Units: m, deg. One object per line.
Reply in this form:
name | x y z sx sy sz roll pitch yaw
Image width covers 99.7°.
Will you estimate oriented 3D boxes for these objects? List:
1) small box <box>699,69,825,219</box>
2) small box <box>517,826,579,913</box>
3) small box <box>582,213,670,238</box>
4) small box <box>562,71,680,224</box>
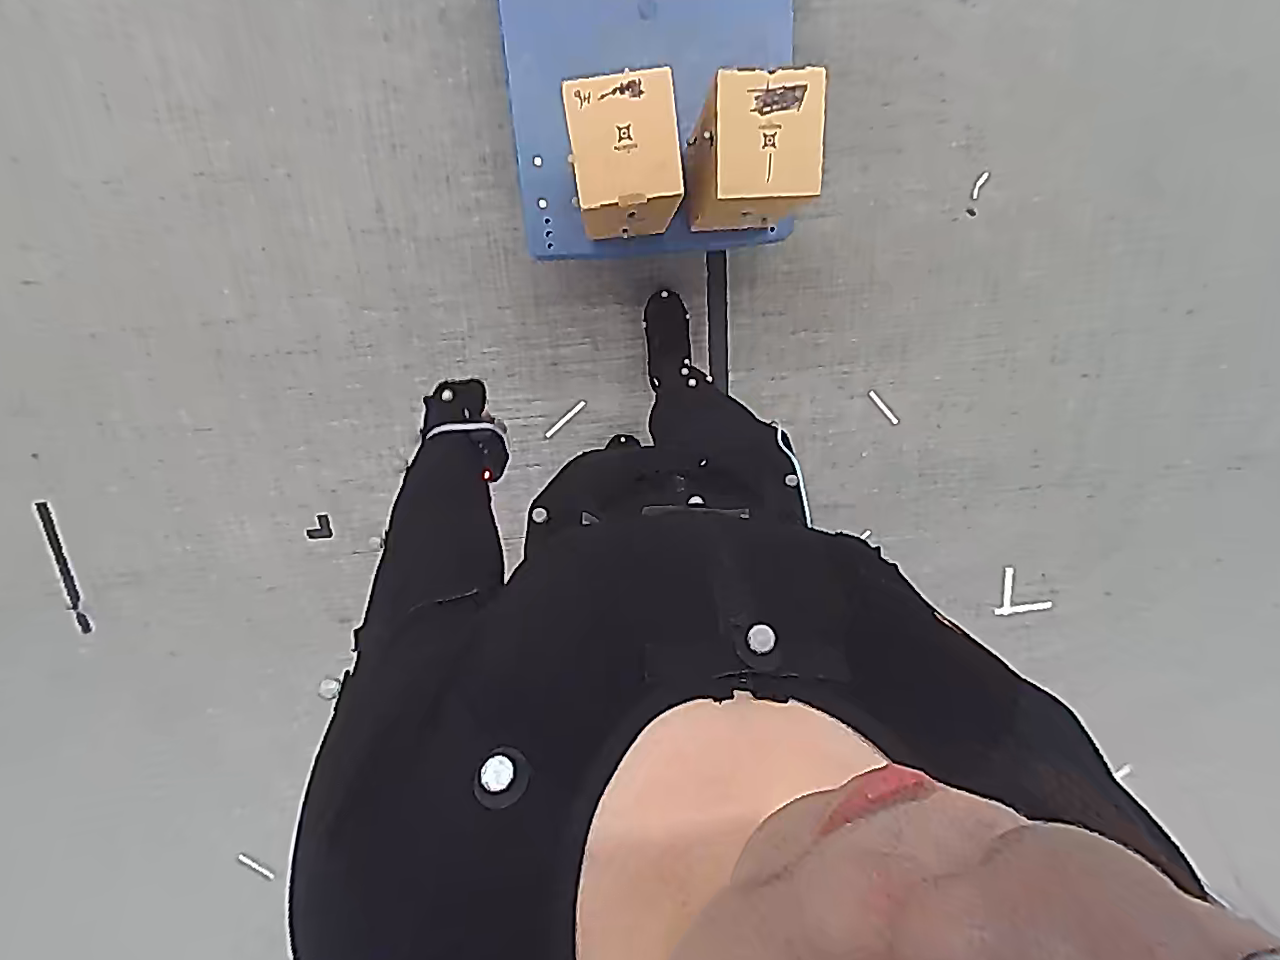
small box | 0.192 -0.547 0.900 0.168 0.176 0.179 -2 106 -3
small box | -0.293 1.263 1.762 0.179 0.176 0.168 -2 106 -1
small box | -0.034 -0.580 1.054 0.168 0.176 0.179 -6 105 -1
small box | -0.029 -0.534 0.895 0.168 0.176 0.179 -8 106 -1
